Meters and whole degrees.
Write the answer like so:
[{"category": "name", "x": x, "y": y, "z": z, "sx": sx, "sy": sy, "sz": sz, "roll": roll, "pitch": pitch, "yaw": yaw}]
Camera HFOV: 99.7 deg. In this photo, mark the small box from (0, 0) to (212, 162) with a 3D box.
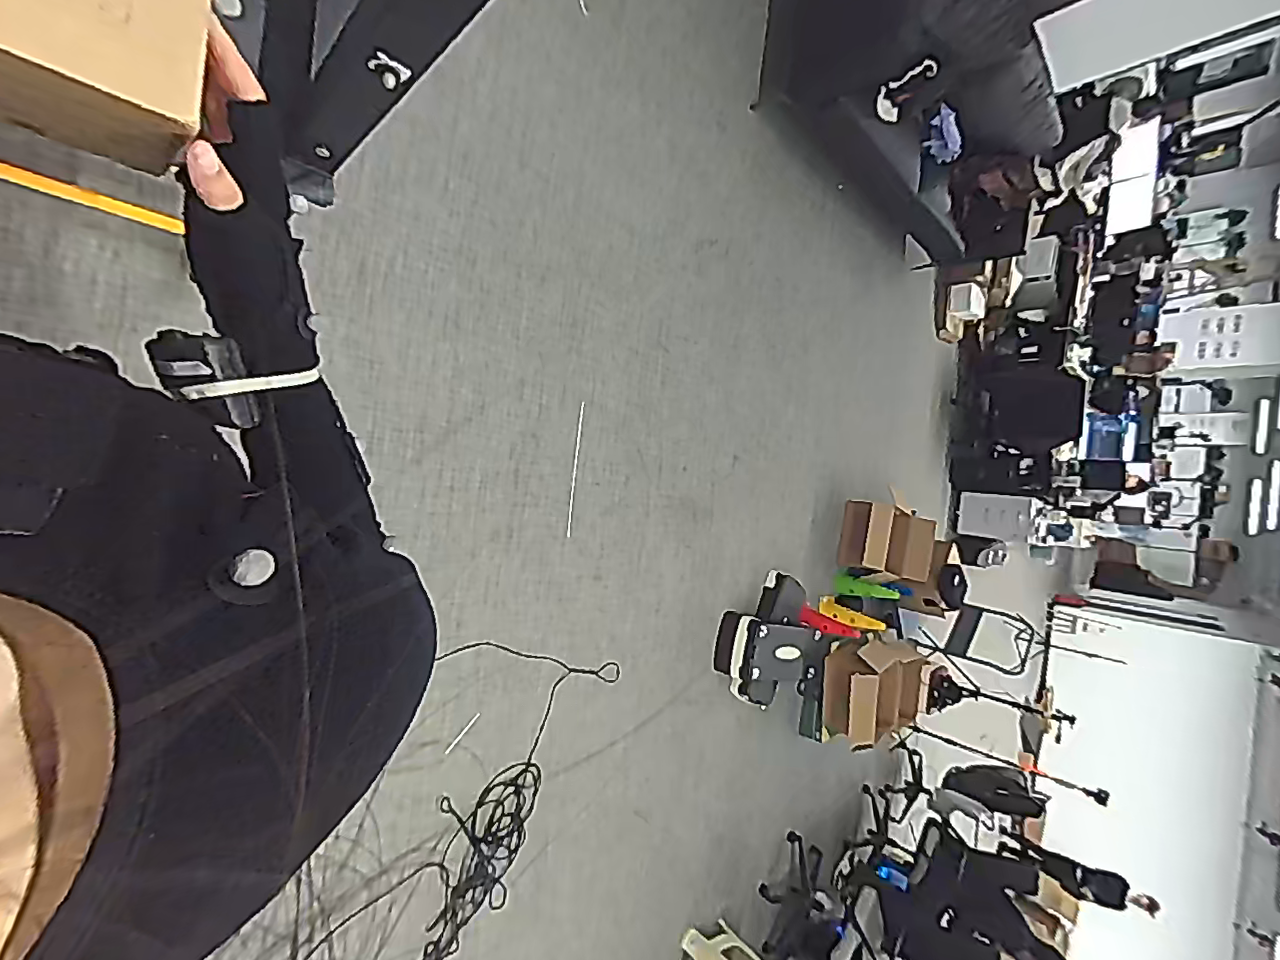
[{"category": "small box", "x": -0.300, "y": -0.273, "z": 0.240, "sx": 0.168, "sy": 0.176, "sz": 0.179, "roll": 5, "pitch": 101, "yaw": -47}]
